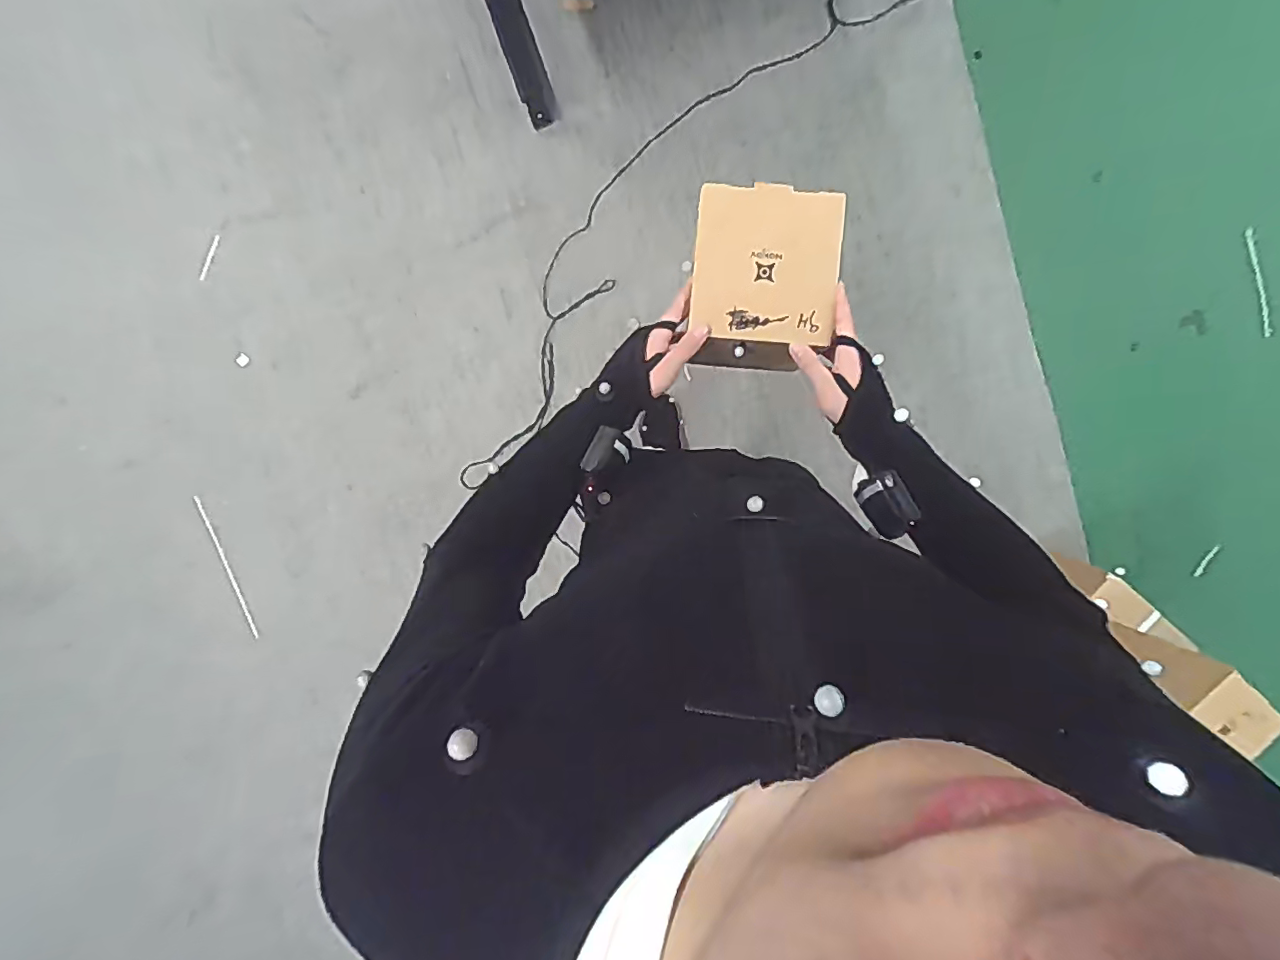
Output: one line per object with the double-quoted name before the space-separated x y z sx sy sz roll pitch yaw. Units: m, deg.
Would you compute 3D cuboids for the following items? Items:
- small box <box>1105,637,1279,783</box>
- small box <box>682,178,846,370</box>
"small box" 1.118 0.462 1.109 0.168 0.176 0.179 42 95 -5
"small box" 0.144 -0.247 0.686 0.168 0.176 0.179 6 93 2
